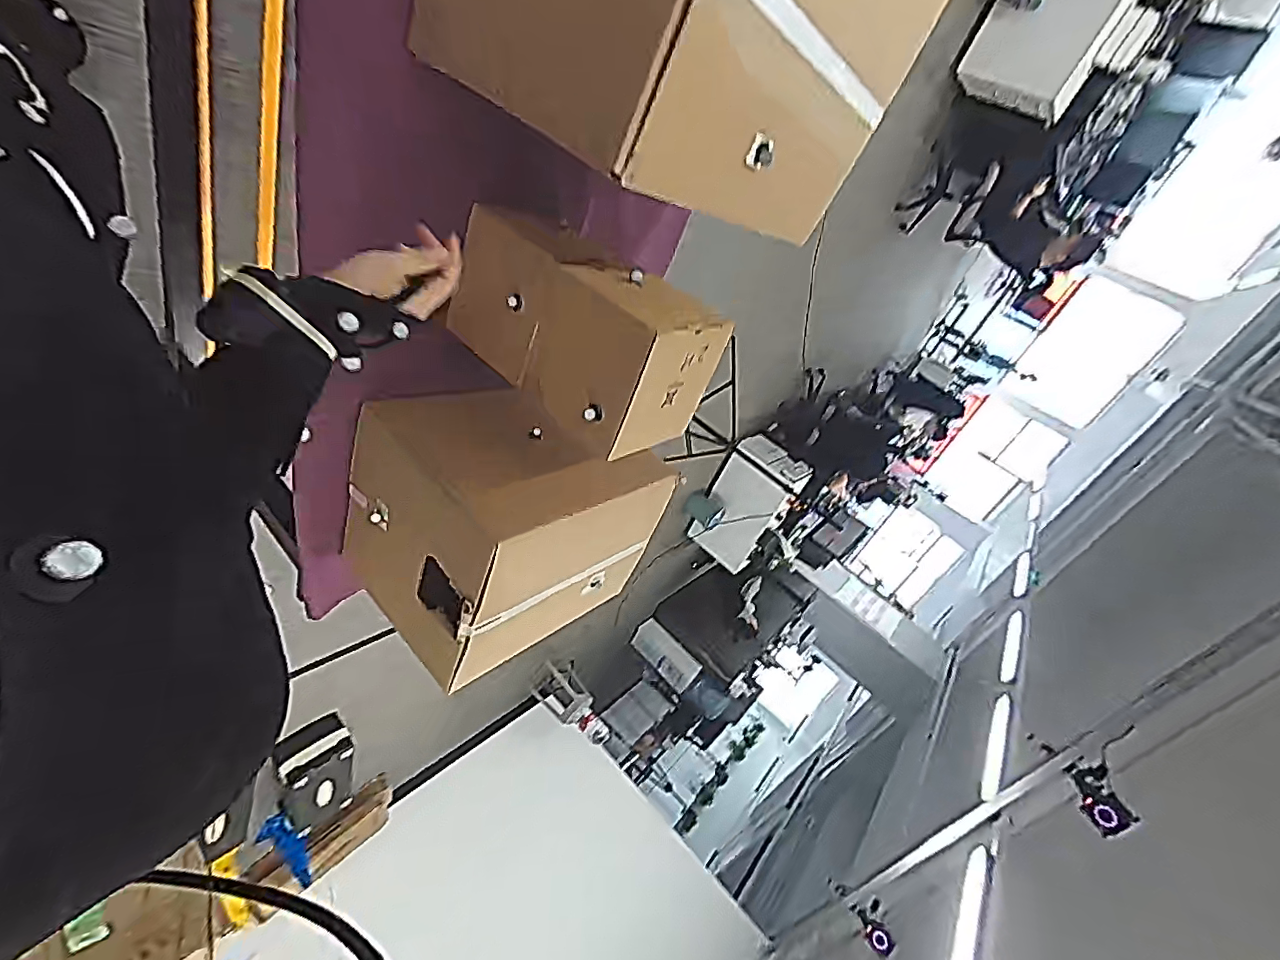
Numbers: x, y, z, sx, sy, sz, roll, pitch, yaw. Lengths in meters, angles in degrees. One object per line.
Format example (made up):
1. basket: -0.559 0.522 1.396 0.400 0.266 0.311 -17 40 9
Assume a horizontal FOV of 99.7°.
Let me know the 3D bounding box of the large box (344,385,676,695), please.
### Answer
1. large box: -0.215 0.062 0.908 0.408 0.320 0.320 -21 145 -52
